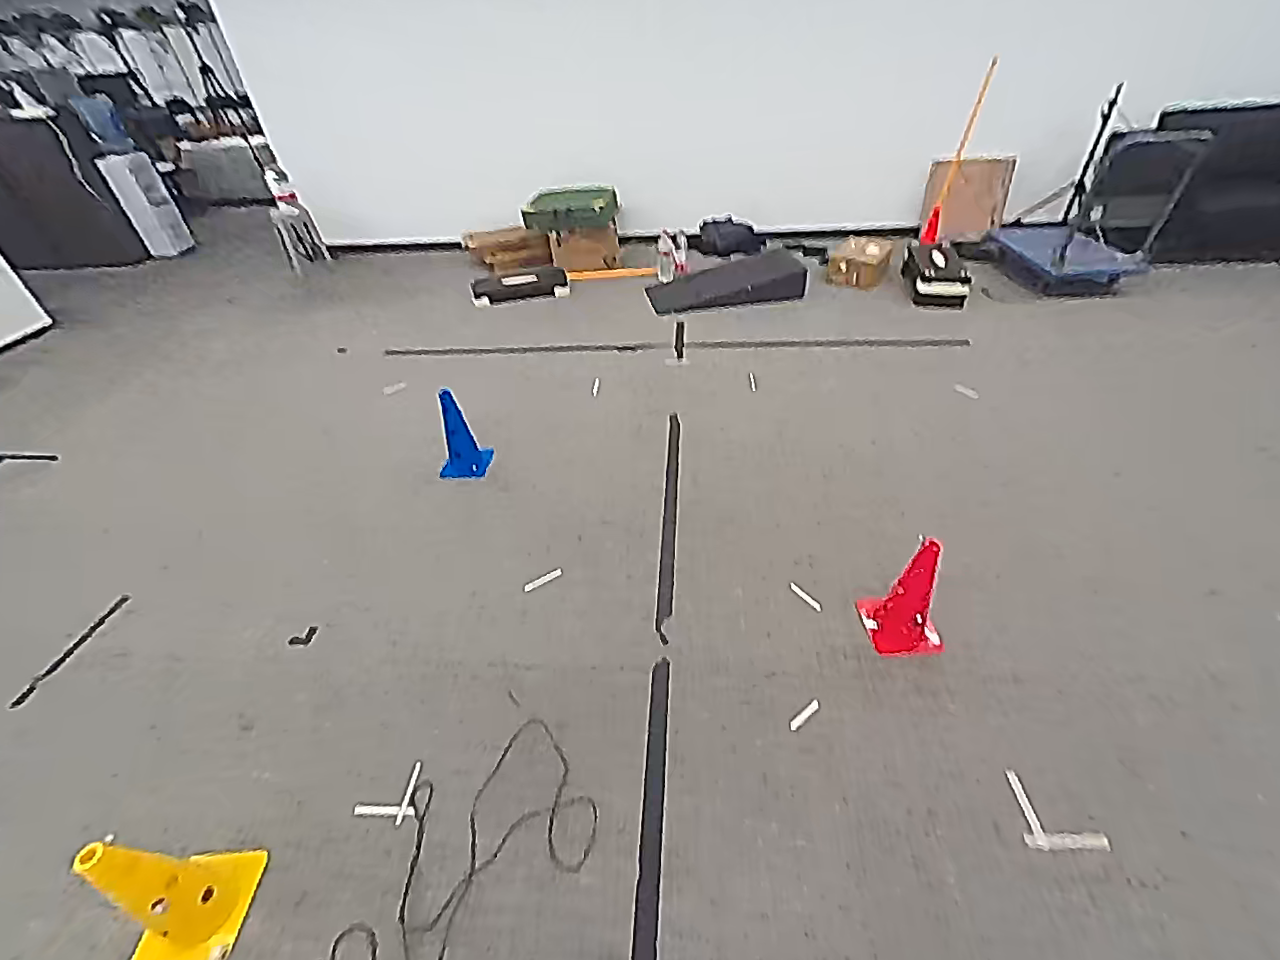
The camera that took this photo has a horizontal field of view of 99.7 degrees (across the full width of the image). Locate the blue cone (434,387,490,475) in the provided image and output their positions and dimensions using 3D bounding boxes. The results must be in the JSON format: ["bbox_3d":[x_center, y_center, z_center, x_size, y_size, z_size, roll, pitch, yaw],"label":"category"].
[{"bbox_3d":[-0.760,-0.209,2.212,0.192,0.380,0.193,0,40,6],"label":"blue cone"}]

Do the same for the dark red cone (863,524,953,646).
[{"bbox_3d":[0.765,0.270,1.475,0.201,0.394,0.202,-5,40,0],"label":"dark red cone"}]
